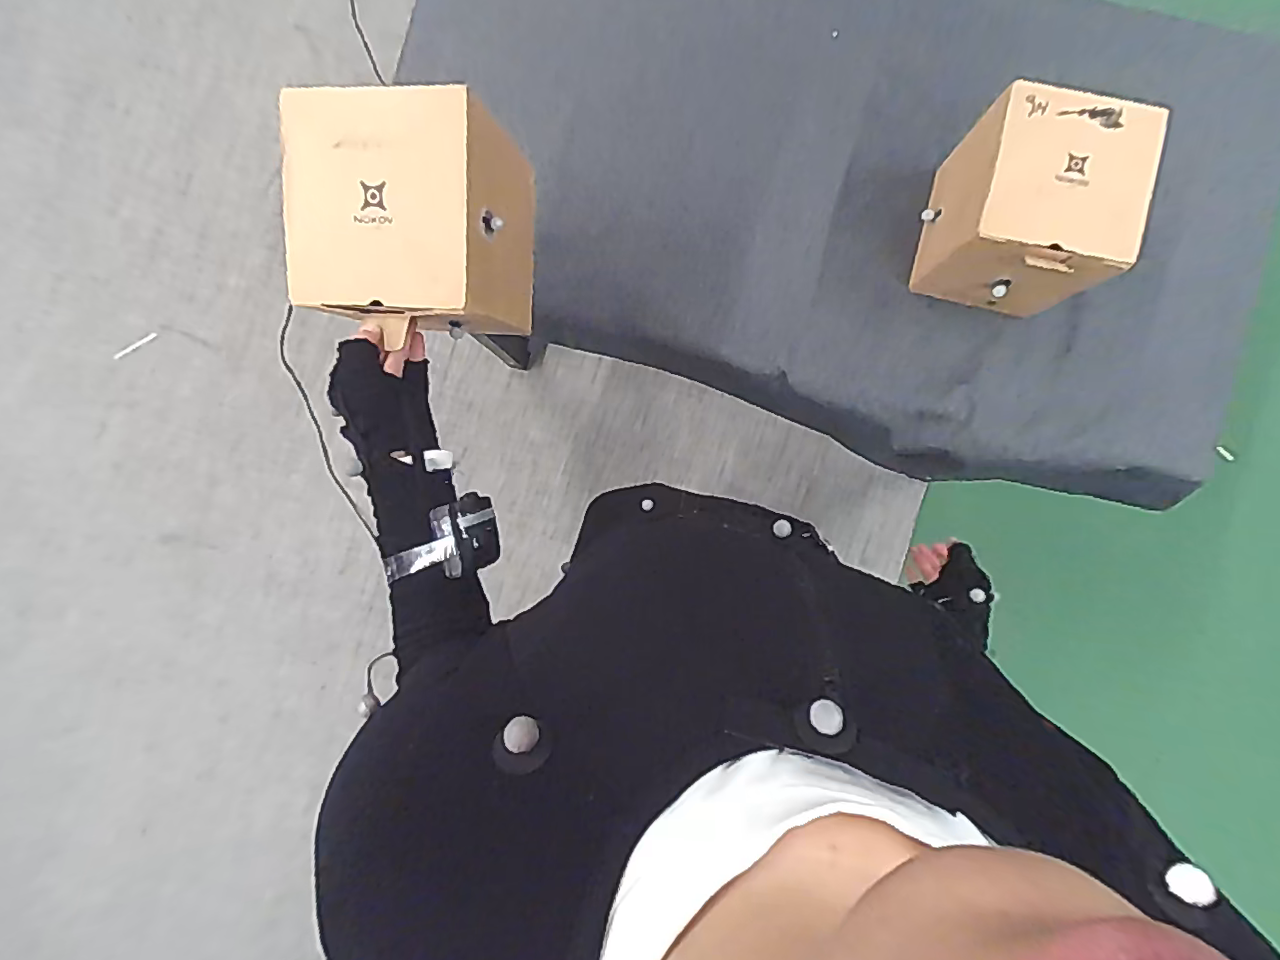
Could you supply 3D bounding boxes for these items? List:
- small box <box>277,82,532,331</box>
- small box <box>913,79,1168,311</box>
[{"bbox_3d":[-0.209,-0.243,0.523,0.168,0.176,0.179,4,99,6],"label":"small box"},{"bbox_3d":[0.460,-0.324,0.653,0.168,0.176,0.179,15,90,2],"label":"small box"}]
